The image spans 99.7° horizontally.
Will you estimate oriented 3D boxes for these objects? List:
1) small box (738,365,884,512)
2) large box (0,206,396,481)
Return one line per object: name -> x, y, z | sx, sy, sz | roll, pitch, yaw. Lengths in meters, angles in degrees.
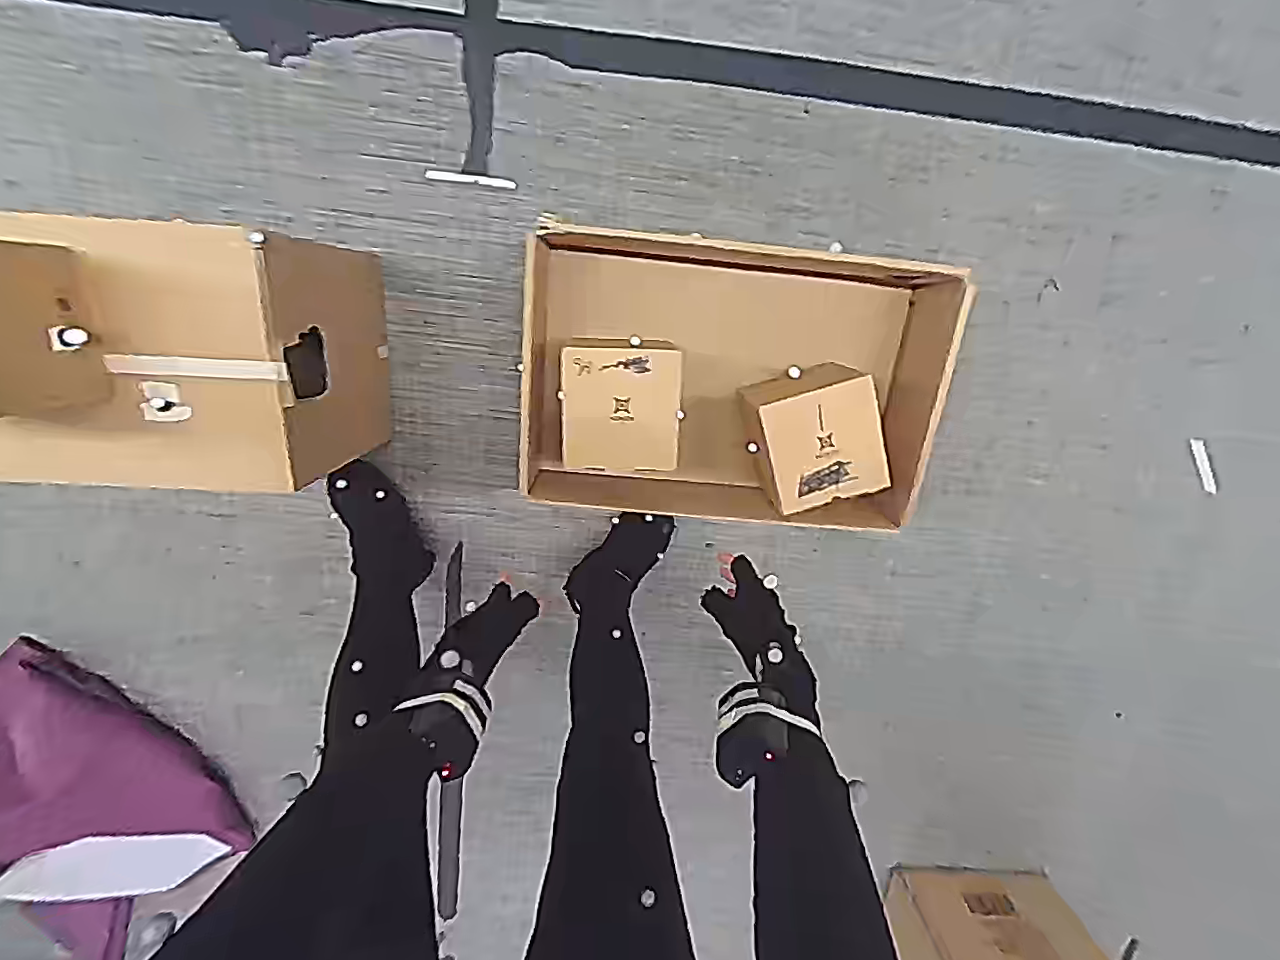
small box -> 0.266, -0.073, 0.867 | 0.168, 0.176, 0.179 | -16, 107, 4
large box -> -0.622, -0.191, 0.779 | 0.408, 0.320, 0.320 | 2, 108, -3
